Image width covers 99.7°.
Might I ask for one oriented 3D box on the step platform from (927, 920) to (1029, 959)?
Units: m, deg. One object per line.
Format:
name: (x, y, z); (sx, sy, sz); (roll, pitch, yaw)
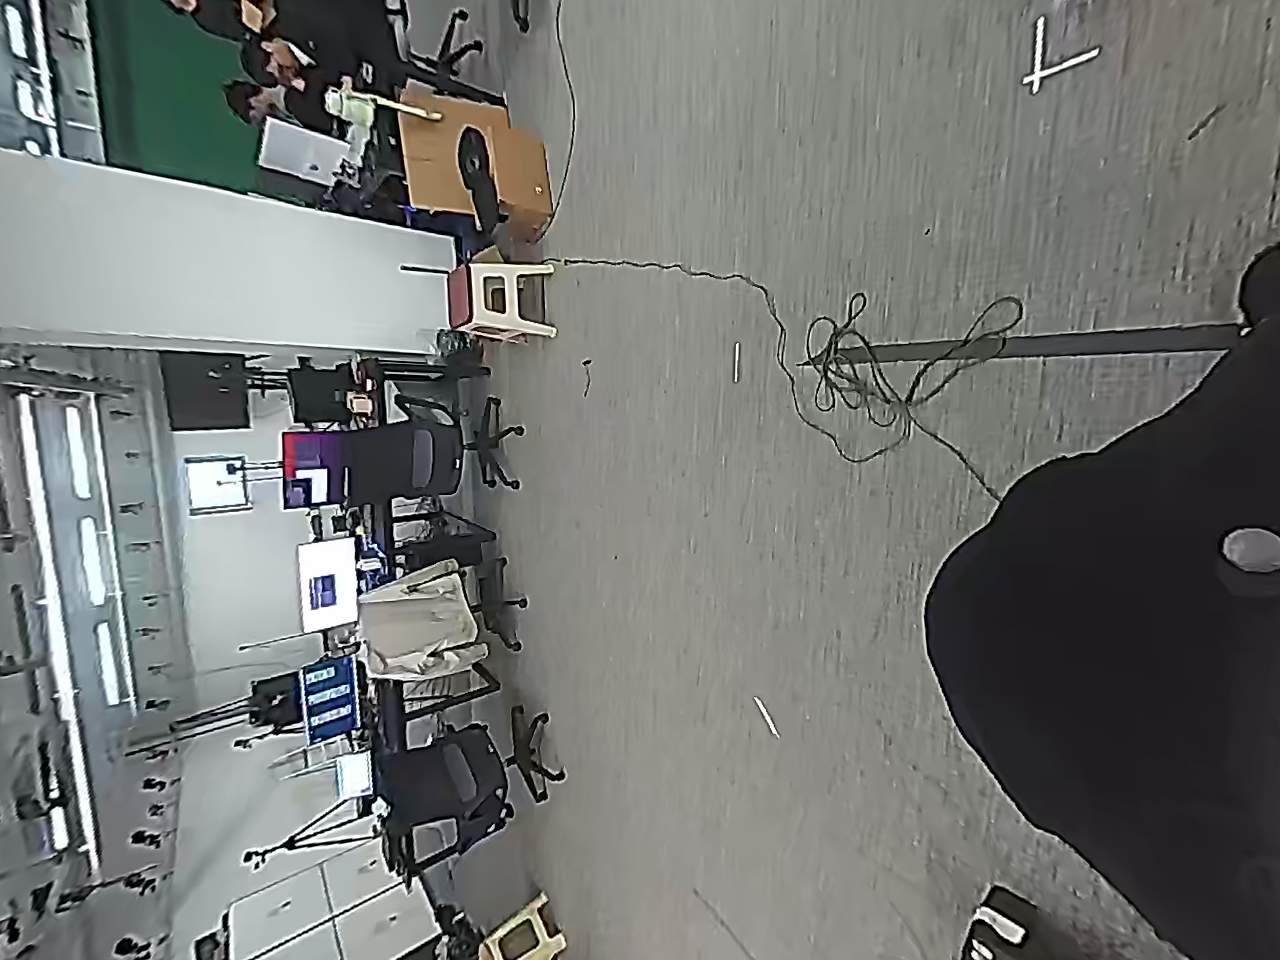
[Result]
step platform: (0.910, 1.225, 1.031); (0.684, 0.204, 0.286); (8, 102, 52)
